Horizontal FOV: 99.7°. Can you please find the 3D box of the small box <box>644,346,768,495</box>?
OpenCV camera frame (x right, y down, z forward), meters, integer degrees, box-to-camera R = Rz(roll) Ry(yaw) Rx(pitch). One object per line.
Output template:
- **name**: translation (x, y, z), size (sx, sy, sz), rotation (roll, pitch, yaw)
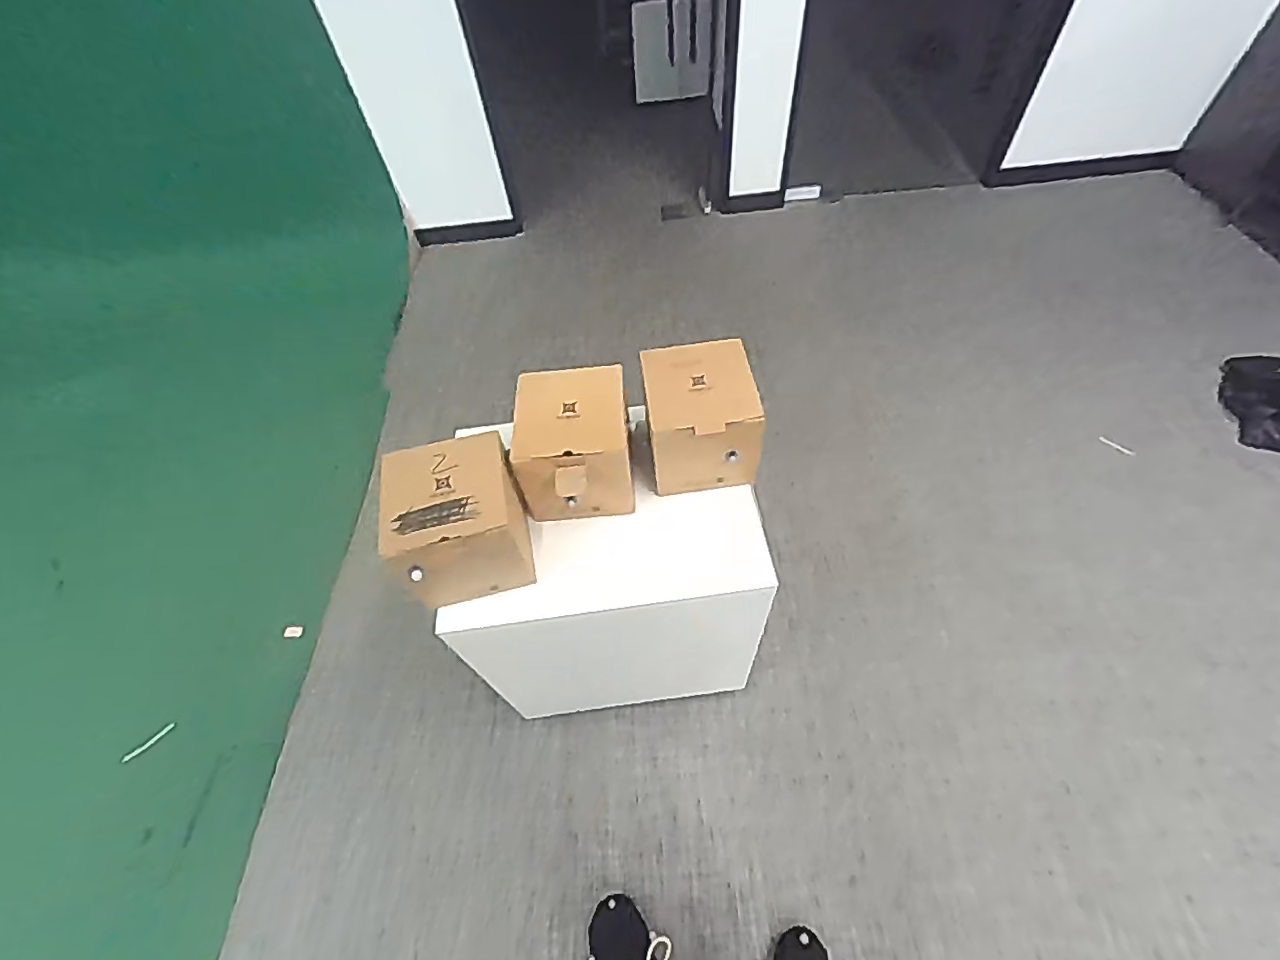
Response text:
- **small box**: translation (0.101, -0.088, 0.877), size (0.168, 0.176, 0.179), rotation (-7, 53, -1)
